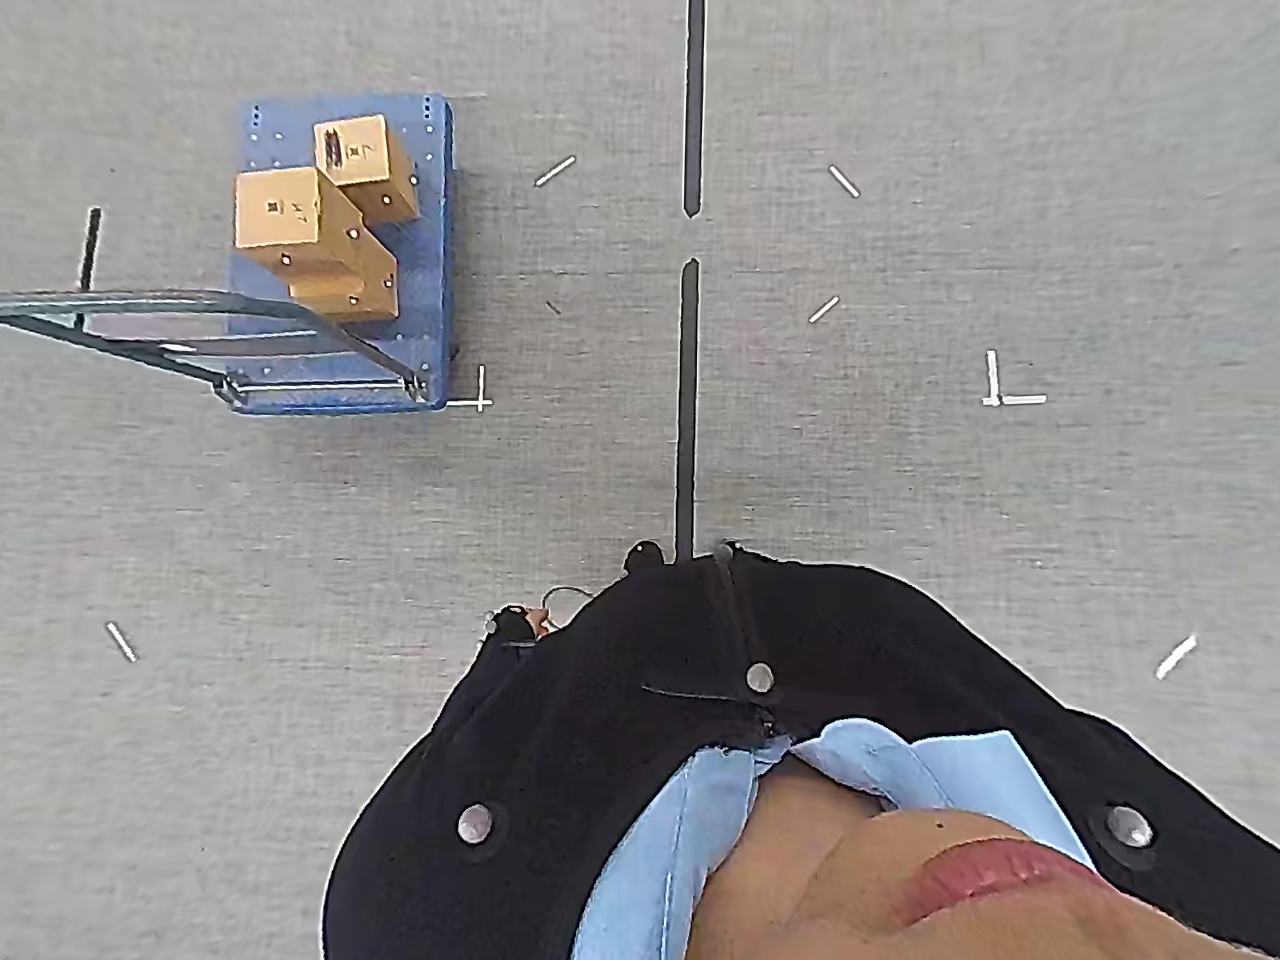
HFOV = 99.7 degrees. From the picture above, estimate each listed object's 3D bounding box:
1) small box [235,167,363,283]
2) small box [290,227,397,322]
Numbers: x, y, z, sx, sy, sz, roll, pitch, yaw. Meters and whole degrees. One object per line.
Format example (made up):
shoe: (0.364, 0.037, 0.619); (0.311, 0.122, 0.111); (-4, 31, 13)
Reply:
small box: (-0.734, -0.544, 1.177); (0.179, 0.176, 0.168); (-4, 84, 1)
small box: (-0.728, -0.502, 1.338); (0.179, 0.176, 0.168); (-4, 84, 1)
